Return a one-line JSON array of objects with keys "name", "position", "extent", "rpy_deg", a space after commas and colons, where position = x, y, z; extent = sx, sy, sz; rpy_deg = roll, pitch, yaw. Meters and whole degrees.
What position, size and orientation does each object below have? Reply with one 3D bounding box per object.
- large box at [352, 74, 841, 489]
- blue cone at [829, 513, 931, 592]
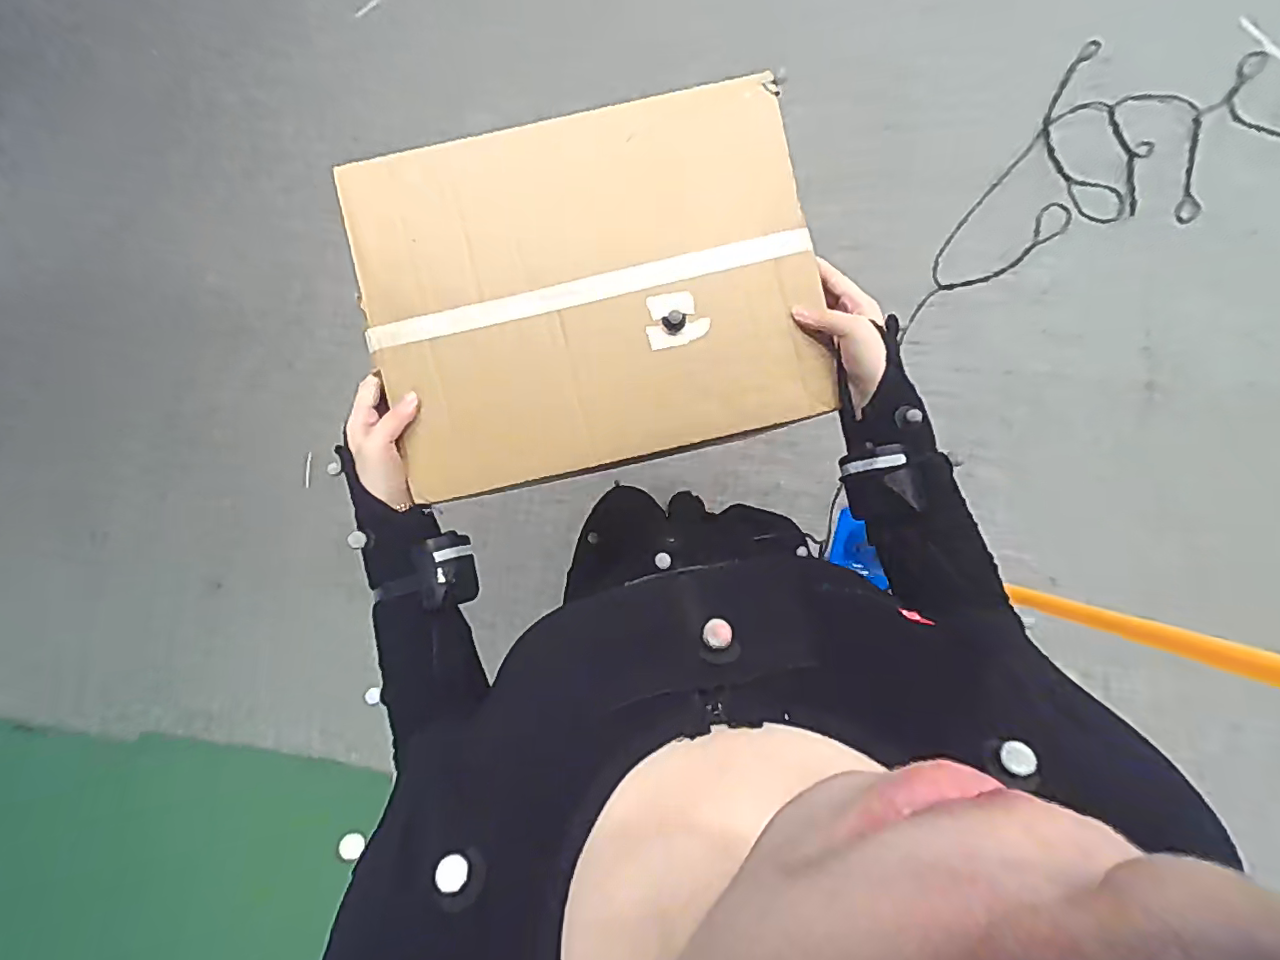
[{"name": "large box", "position": [-0.043, -0.184, 0.644], "extent": [0.408, 0.320, 0.320], "rpy_deg": [-13, 92, -2]}, {"name": "blue cone", "position": [0.596, 0.191, 1.280], "extent": [0.193, 0.380, 0.192], "rpy_deg": [15, 91, 7]}]
